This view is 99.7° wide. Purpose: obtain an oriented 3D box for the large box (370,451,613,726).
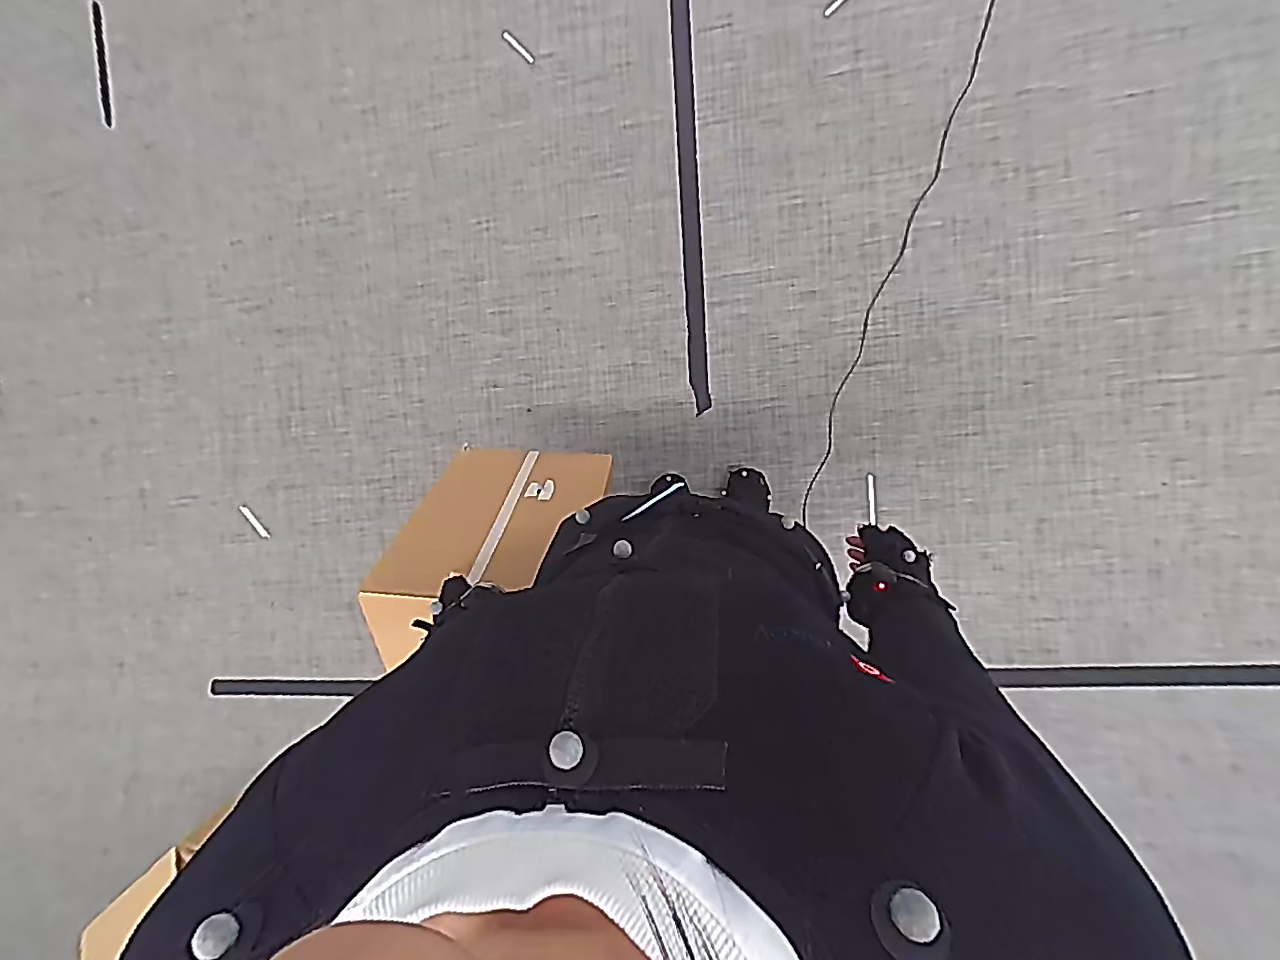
[{"bbox_3d":[-0.226,0.185,1.007,0.320,0.408,0.320,4,123,3],"label":"large box"}]
